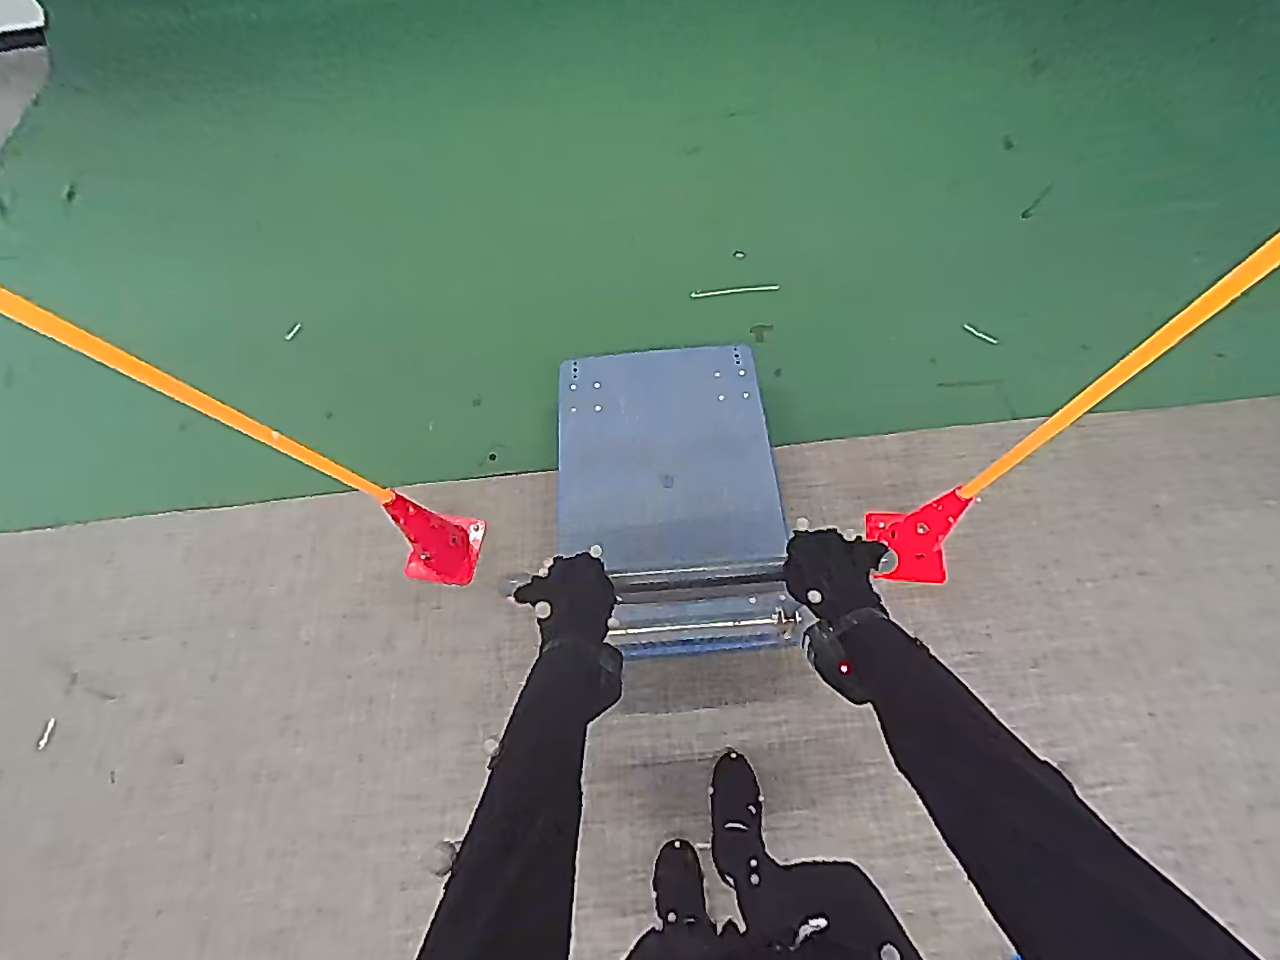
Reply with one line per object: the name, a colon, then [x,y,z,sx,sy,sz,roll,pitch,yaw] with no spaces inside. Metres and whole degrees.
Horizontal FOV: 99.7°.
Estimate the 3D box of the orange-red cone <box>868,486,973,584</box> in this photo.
orange-red cone: [0.720,0.108,1.335,0.198,0.360,0.199,4,64,6]
